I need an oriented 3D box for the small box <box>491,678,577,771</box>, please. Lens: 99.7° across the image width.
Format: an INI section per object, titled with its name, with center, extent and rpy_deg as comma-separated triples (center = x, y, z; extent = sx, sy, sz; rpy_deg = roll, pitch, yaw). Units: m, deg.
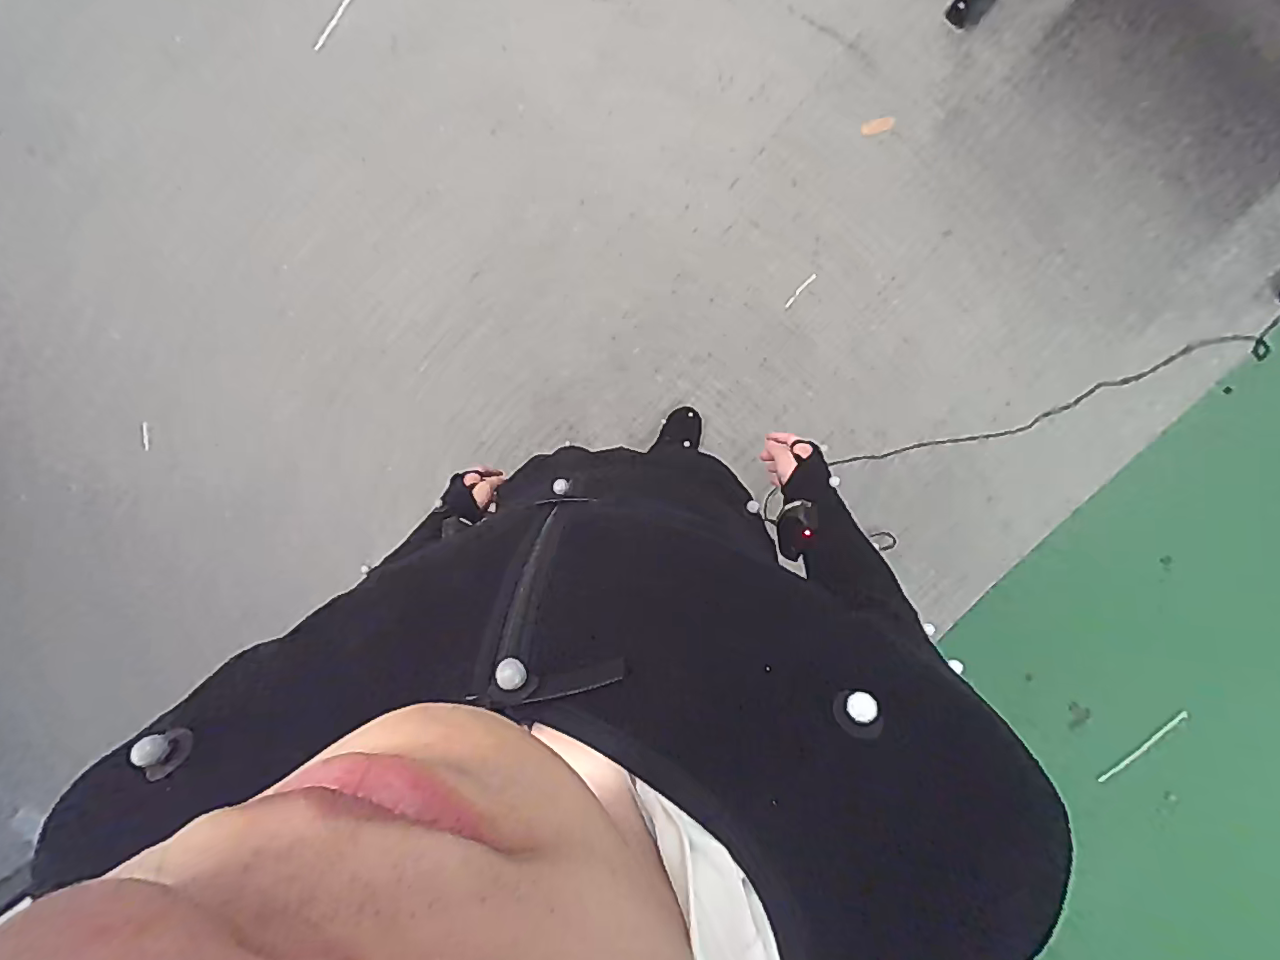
[small box]
center = -0.322, 0.741, 1.671
extent = 0.168, 0.176, 0.179
rpy_deg = -40, 92, 9
